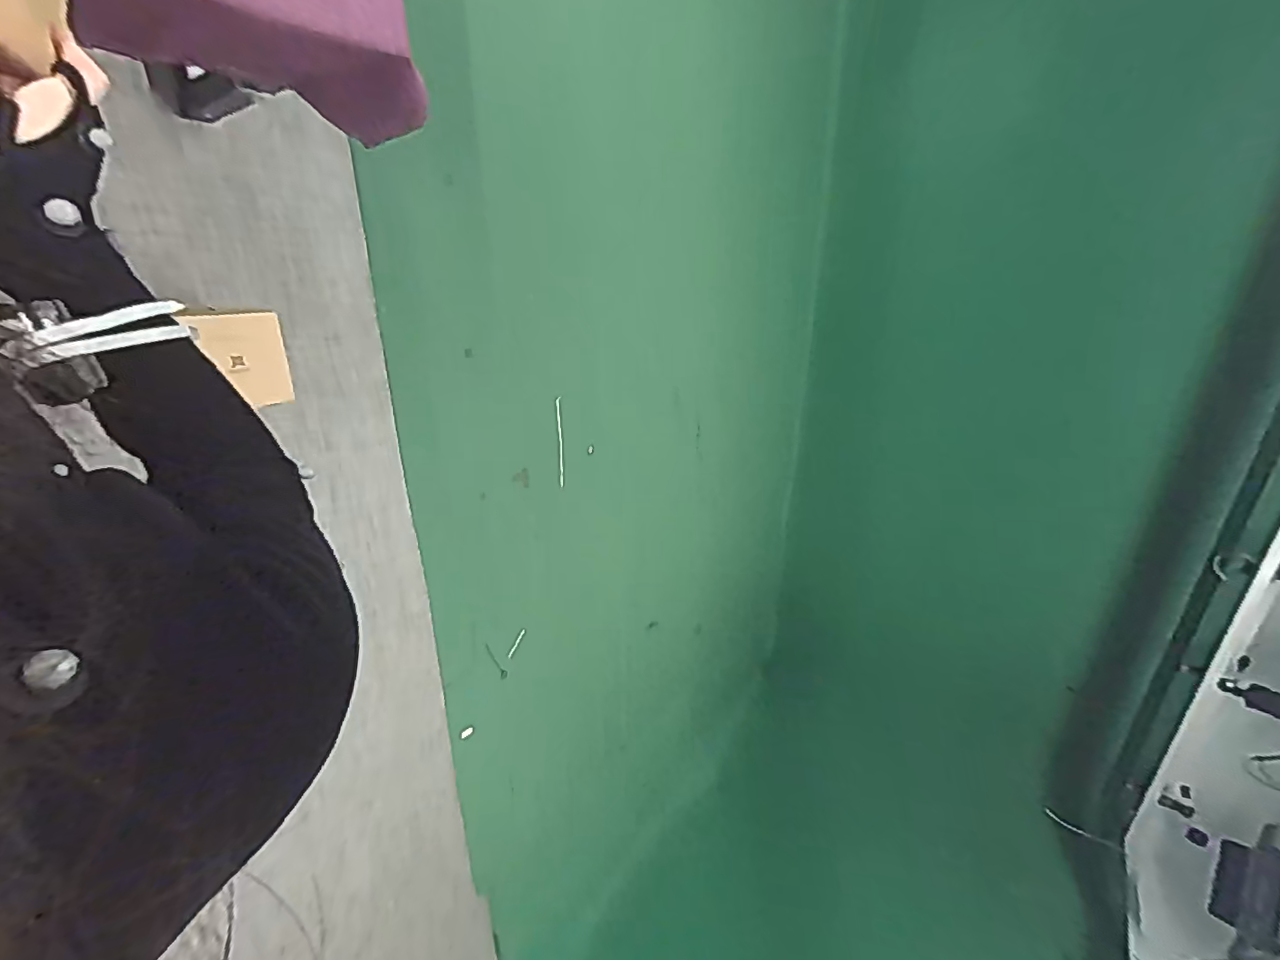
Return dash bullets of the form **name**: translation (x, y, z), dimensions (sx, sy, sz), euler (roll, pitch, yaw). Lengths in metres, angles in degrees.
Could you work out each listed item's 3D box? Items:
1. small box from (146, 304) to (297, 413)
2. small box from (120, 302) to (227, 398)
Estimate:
- **small box**: translation (-0.801, -0.241, 1.040), dimensions (0.168, 0.176, 0.179), euler (-26, 124, -49)
- **small box**: translation (-0.935, -0.276, 1.125), dimensions (0.179, 0.176, 0.168), euler (-28, 126, -47)
